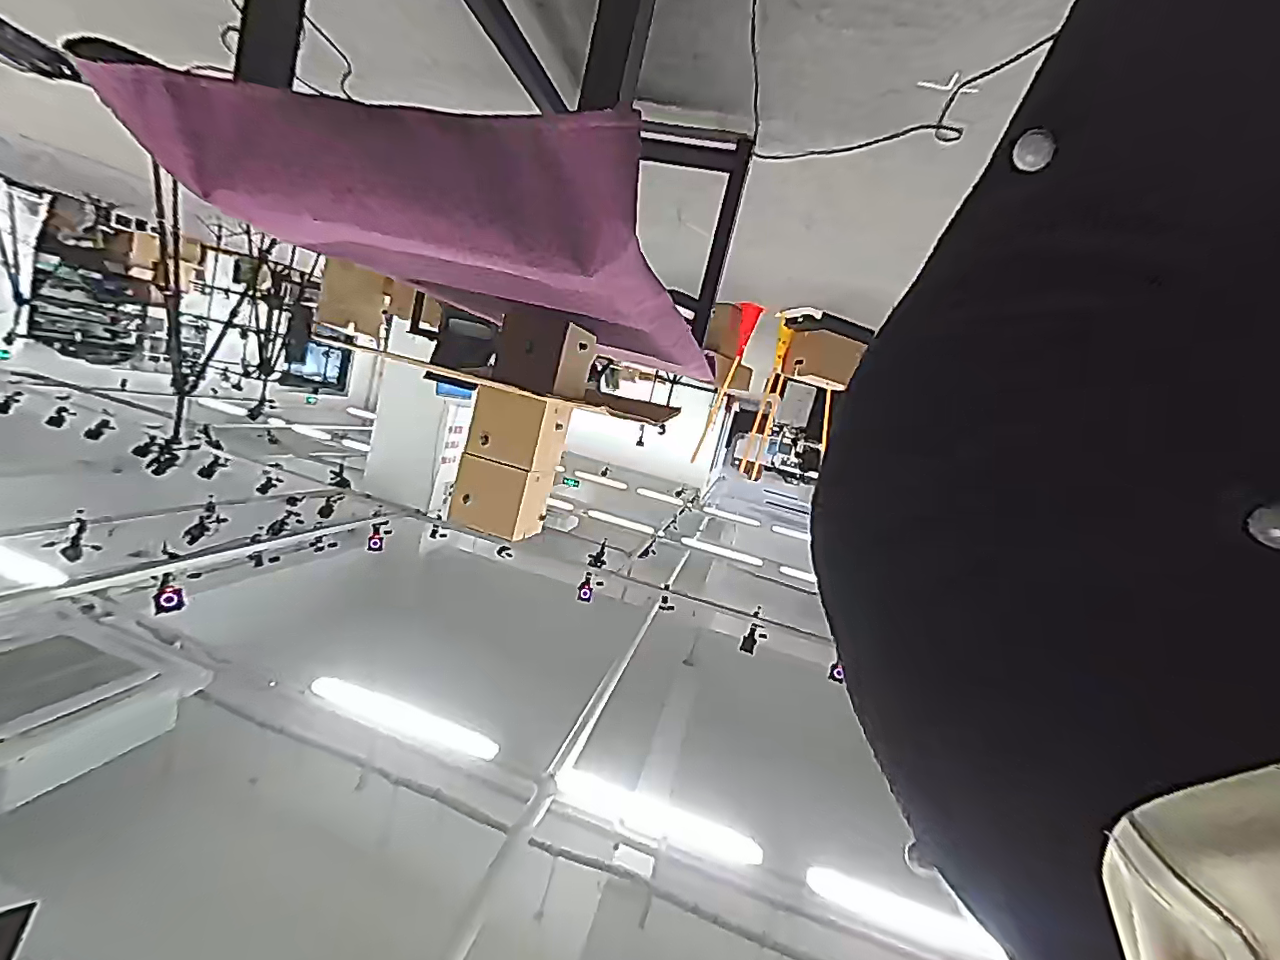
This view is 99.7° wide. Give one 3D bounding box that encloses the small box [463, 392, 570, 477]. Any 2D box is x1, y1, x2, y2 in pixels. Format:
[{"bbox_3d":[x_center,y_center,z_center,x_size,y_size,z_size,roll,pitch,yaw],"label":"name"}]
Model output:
[{"bbox_3d":[-0.288,-0.110,1.285,0.179,0.176,0.168,15,-175,11],"label":"small box"}]
